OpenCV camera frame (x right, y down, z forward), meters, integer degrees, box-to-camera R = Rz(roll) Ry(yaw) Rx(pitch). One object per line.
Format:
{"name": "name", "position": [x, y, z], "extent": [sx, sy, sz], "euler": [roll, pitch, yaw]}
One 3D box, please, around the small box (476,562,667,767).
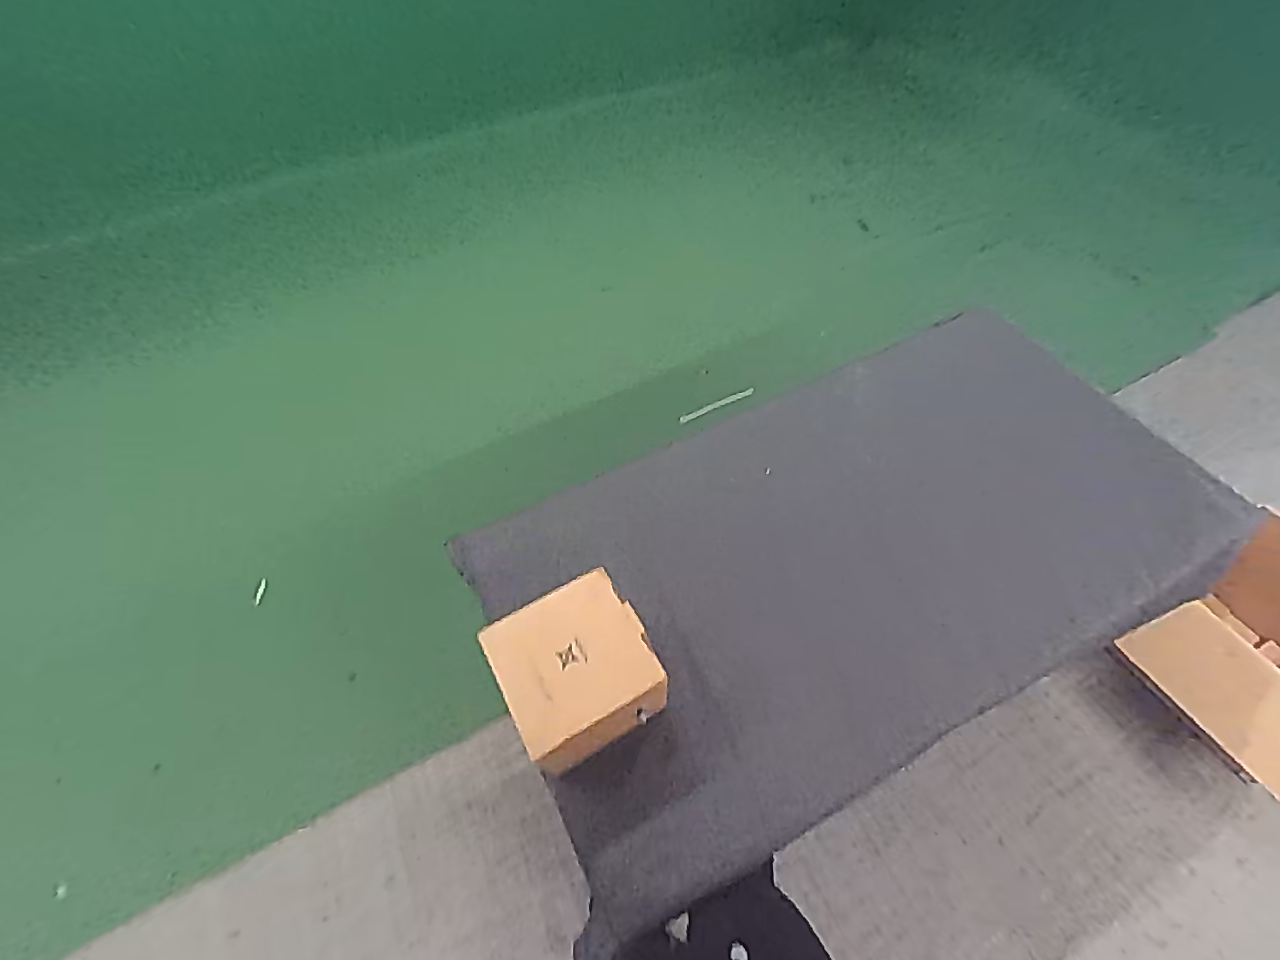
{"name": "small box", "position": [-0.082, 0.240, 0.697], "extent": [0.179, 0.176, 0.168], "euler": [-28, 60, -15]}
